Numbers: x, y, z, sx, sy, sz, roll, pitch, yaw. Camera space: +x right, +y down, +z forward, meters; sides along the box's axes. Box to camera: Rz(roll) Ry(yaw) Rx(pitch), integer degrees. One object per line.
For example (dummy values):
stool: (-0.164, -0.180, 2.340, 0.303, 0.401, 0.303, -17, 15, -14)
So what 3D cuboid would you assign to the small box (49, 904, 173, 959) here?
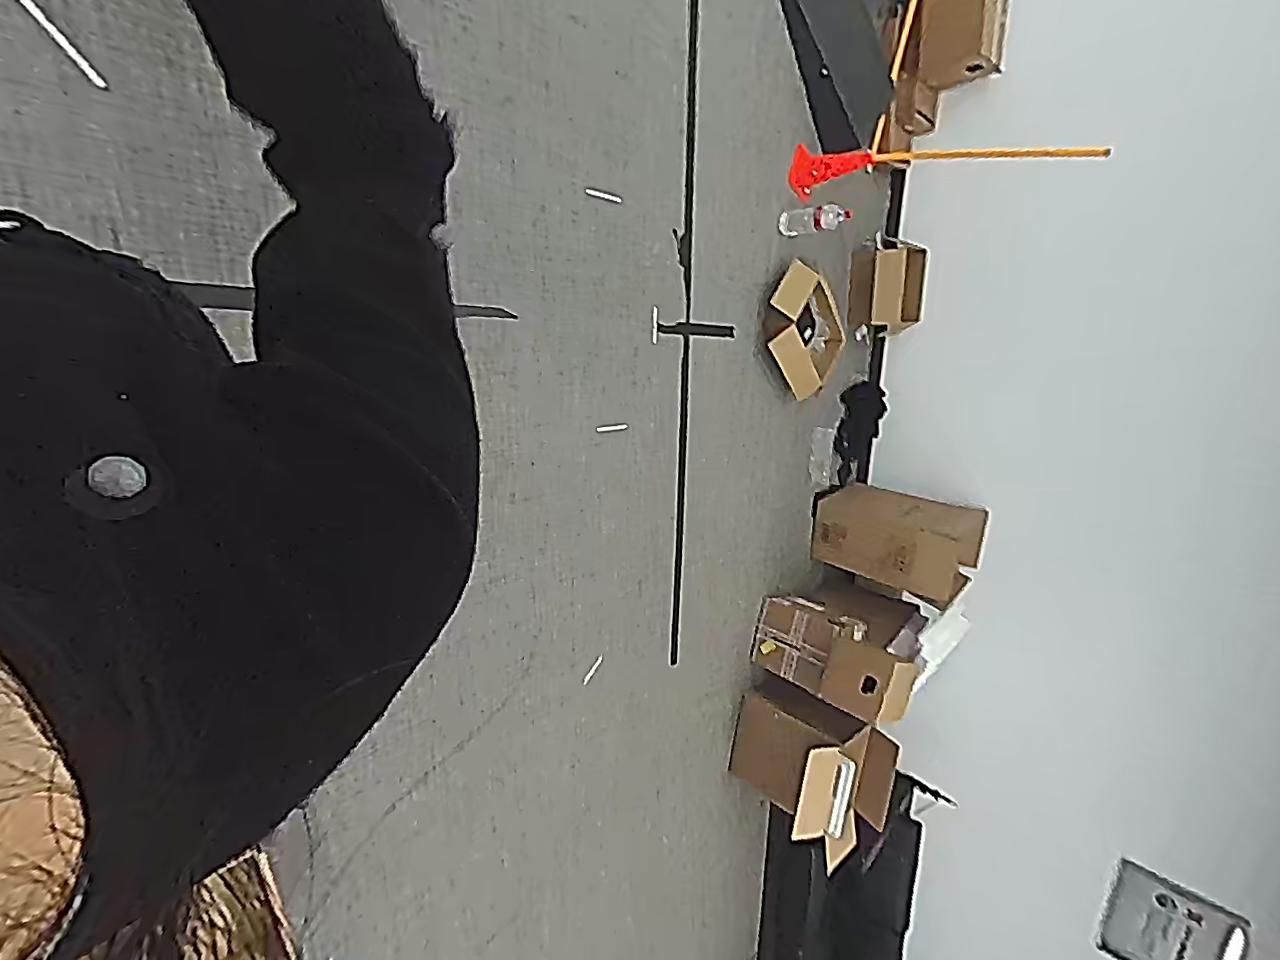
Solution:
small box: (-1.144, 1.089, 1.177, 0.168, 0.176, 0.179, -24, 118, -41)
